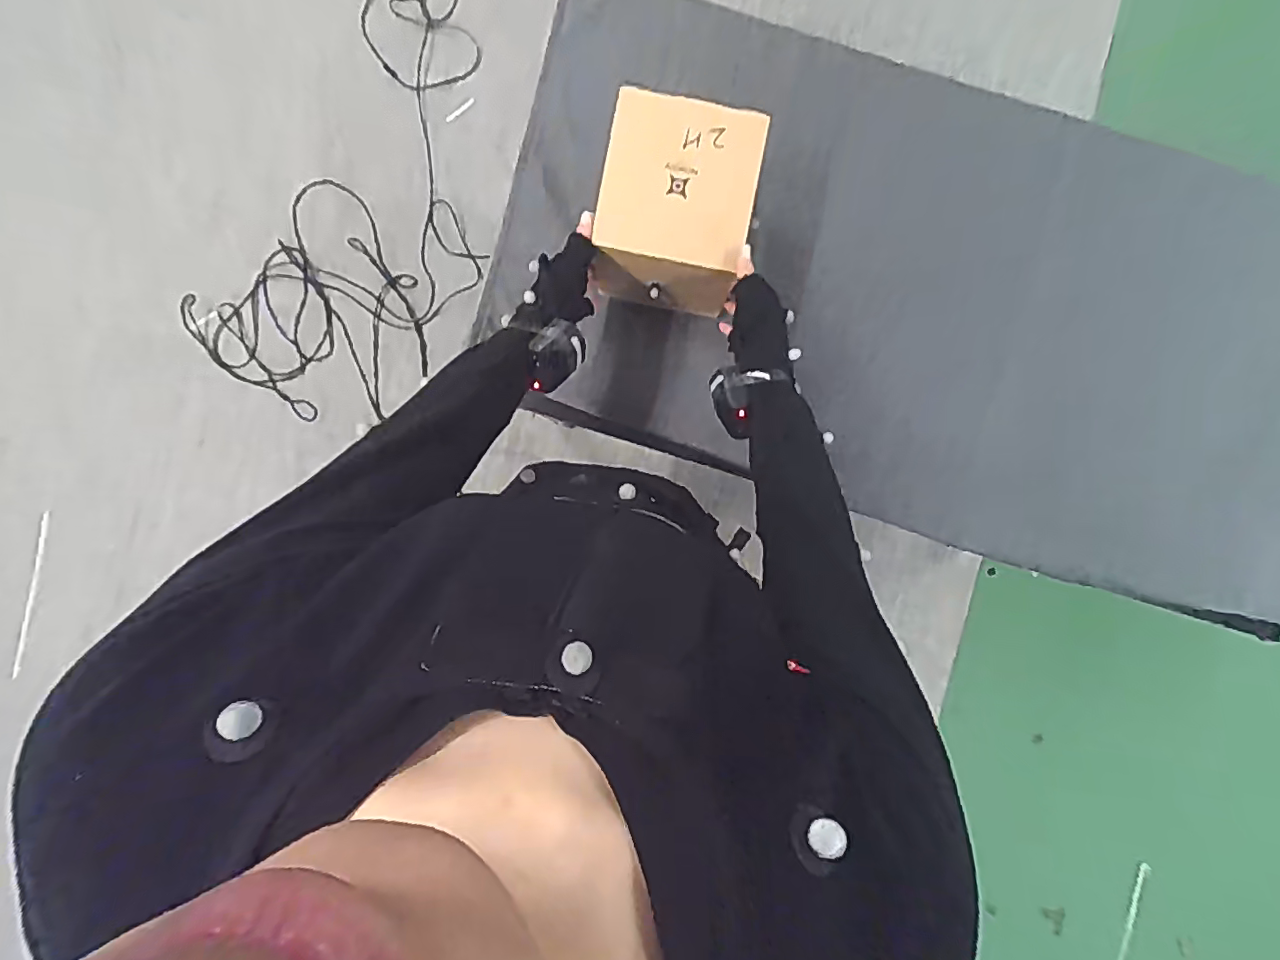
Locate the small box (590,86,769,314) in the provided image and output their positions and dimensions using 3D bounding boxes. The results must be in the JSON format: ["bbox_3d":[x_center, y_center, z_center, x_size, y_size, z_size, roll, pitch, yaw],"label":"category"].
[{"bbox_3d":[0.043,-0.320,0.656,0.168,0.176,0.179,11,90,-1],"label":"small box"}]
